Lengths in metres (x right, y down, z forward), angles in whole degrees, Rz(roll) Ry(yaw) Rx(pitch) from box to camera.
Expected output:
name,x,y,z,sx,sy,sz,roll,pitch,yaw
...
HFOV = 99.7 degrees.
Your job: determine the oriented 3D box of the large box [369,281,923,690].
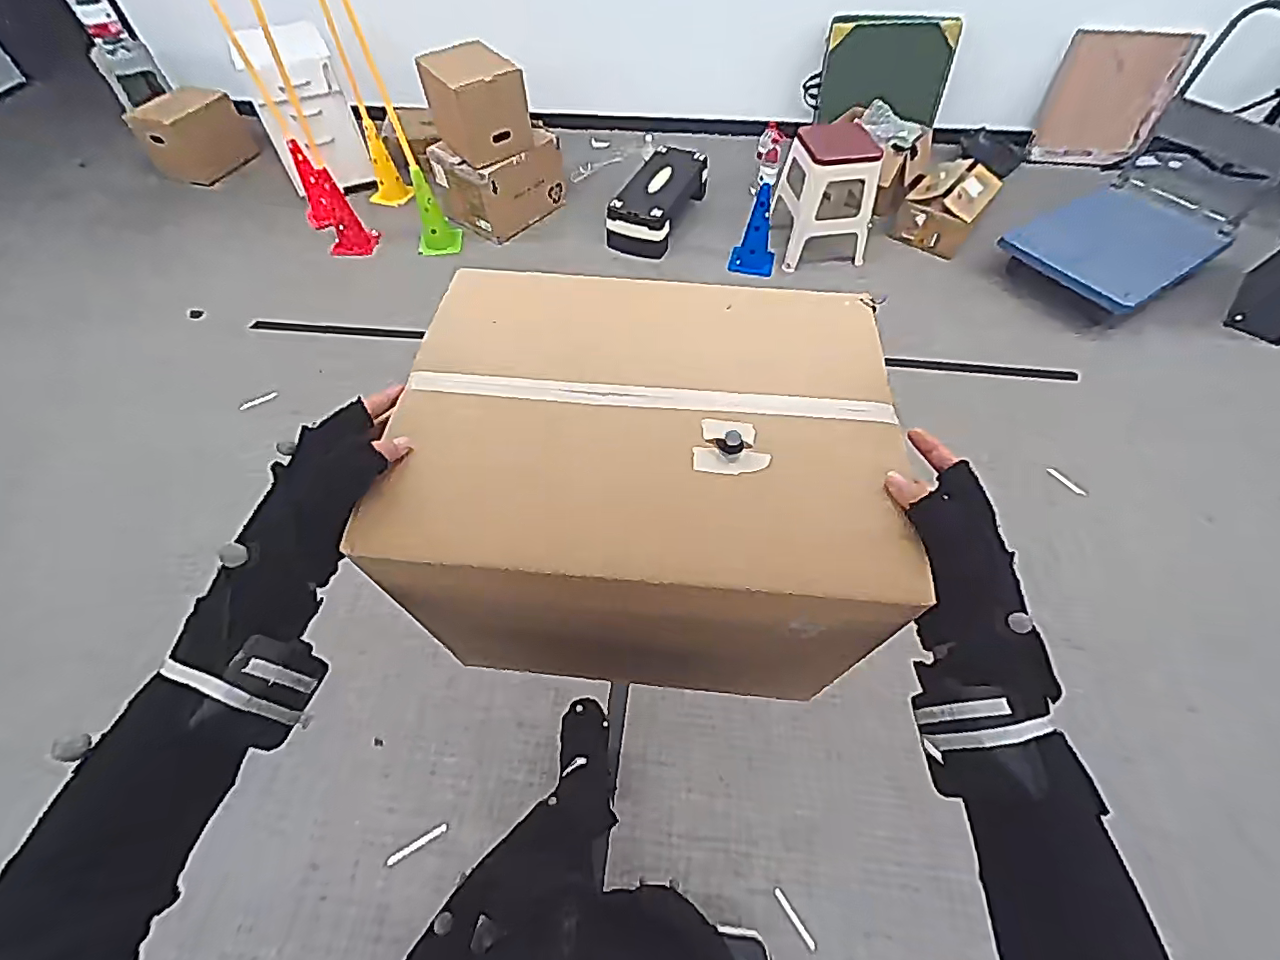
name,x,y,z,sx,sy,sz,roll,pitch,yaw
large box,0.009,0.021,0.585,0.408,0.320,0.320,5,58,2
